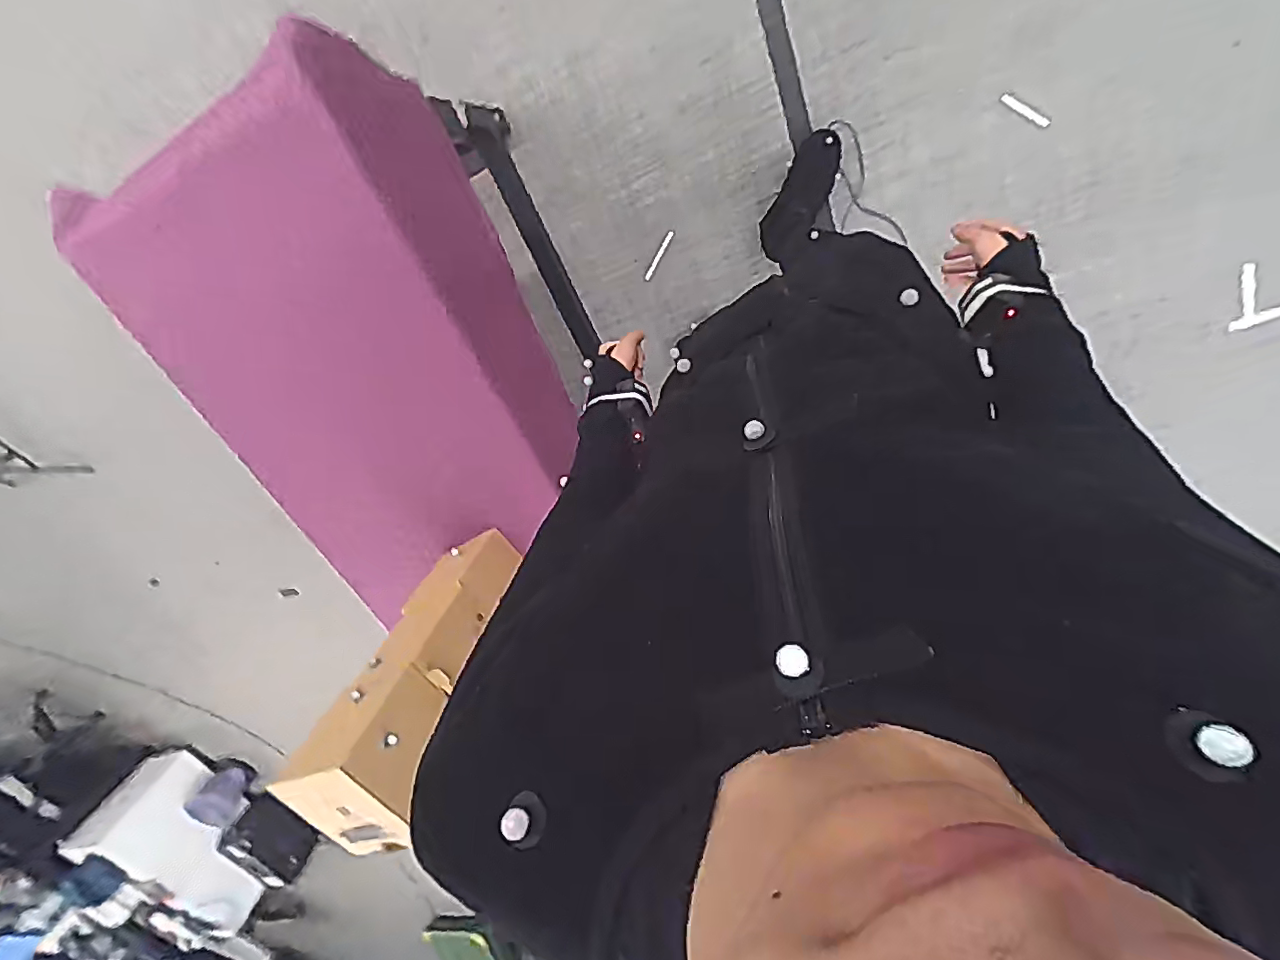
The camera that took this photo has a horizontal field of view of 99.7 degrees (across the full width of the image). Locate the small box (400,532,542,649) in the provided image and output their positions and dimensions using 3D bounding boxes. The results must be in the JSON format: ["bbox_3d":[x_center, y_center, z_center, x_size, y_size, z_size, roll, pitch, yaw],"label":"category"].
[{"bbox_3d":[-0.322,0.236,1.072,0.168,0.176,0.179,-28,111,24],"label":"small box"}]

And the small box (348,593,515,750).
[{"bbox_3d":[-0.350,0.329,0.938,0.179,0.176,0.168,-29,112,25],"label":"small box"}]
